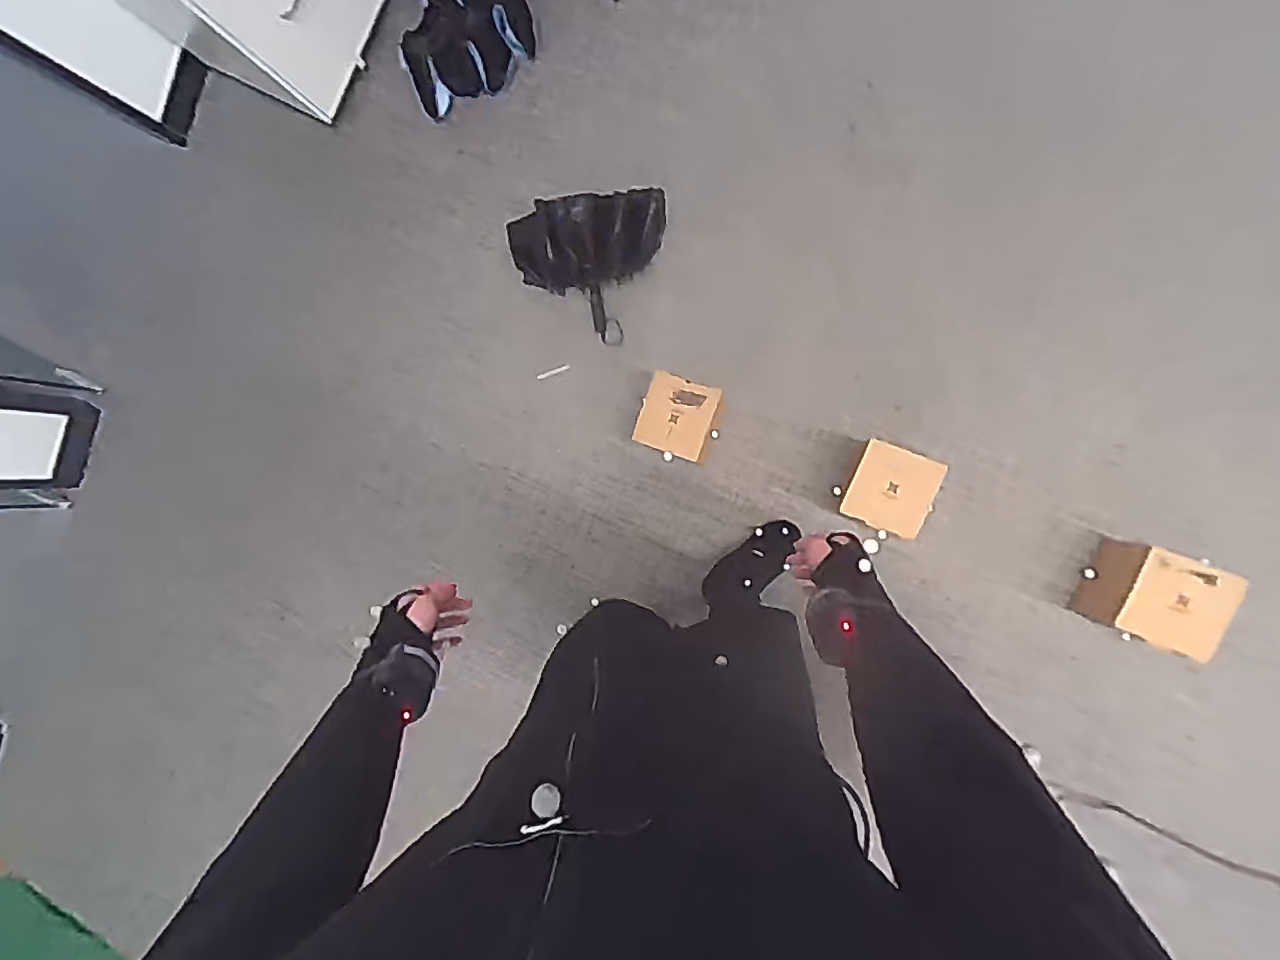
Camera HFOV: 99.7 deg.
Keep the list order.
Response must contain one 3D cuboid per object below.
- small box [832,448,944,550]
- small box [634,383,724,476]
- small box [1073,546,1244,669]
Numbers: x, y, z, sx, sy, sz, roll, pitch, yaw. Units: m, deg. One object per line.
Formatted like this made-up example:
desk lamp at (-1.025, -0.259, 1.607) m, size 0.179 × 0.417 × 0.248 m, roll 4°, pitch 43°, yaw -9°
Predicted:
small box at (0.550, 0.043, 1.229) m, size 0.168 × 0.176 × 0.179 m, roll 22°, pitch 92°, yaw 12°
small box at (0.103, -0.118, 1.332) m, size 0.168 × 0.176 × 0.179 m, roll 20°, pitch 94°, yaw 13°
small box at (1.041, 0.250, 1.107) m, size 0.168 × 0.176 × 0.179 m, roll 23°, pitch 94°, yaw 13°
